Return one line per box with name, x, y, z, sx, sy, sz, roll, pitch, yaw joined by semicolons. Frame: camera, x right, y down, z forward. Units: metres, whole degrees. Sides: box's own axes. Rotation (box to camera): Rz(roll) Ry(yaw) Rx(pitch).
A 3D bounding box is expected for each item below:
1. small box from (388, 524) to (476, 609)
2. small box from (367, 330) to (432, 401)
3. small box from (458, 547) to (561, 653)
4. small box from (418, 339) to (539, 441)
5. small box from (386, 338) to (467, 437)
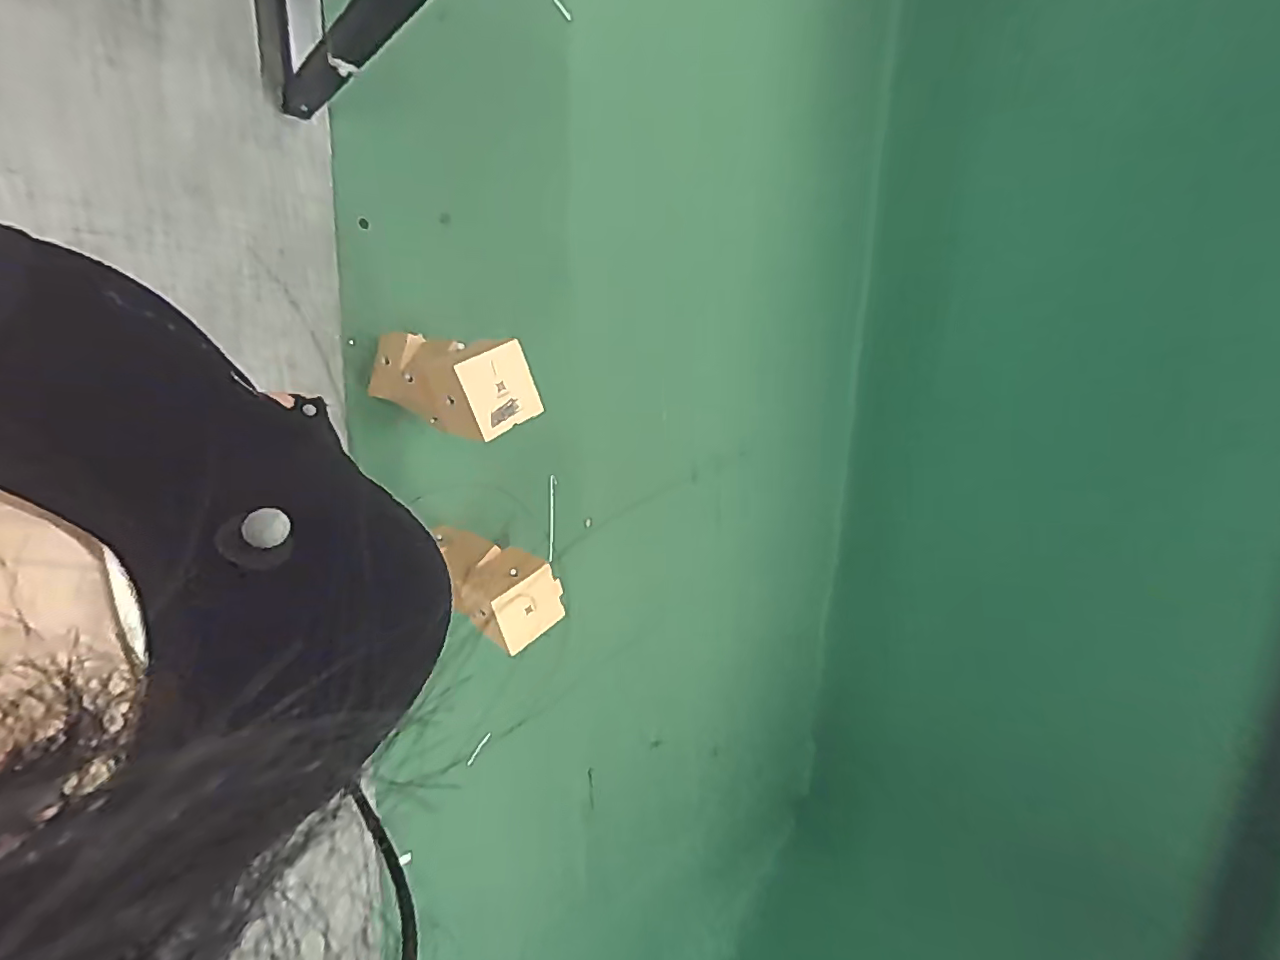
small box;-0.591;0.238;1.551;0.179;0.176;0.168;-22;115;-43
small box;-0.591;-0.283;1.426;0.179;0.176;0.168;14;90;-48
small box;-0.332;0.293;1.355;0.179;0.176;0.168;-33;122;-37
small box;-0.360;-0.207;1.206;0.168;0.176;0.179;-36;123;-35
small box;-0.479;-0.225;1.319;0.179;0.176;0.168;44;69;-44
